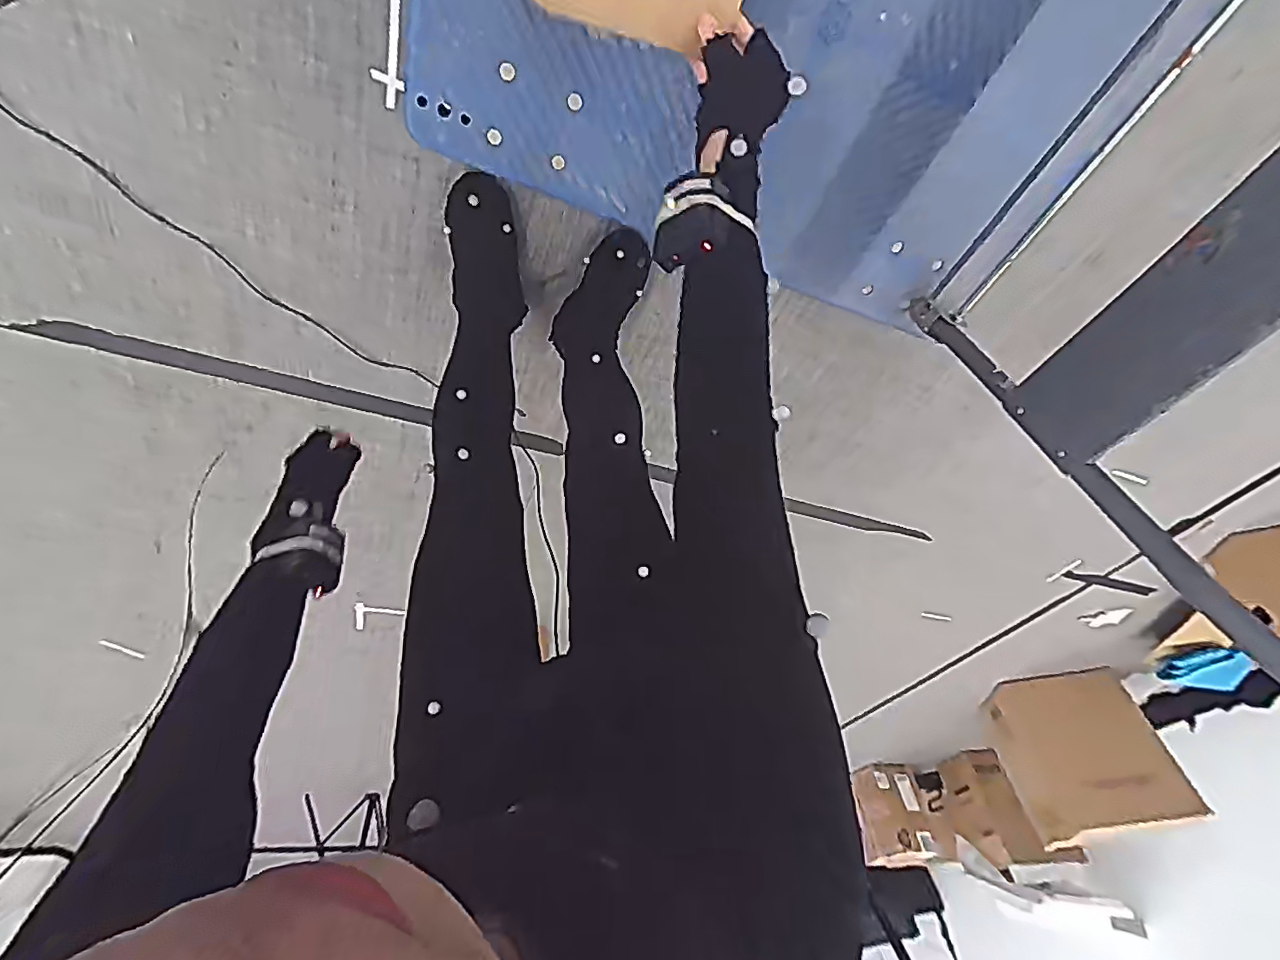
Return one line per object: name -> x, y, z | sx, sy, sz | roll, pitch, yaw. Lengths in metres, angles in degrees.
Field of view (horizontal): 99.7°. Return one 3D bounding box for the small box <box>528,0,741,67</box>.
small box -> -0.013, -0.486, 0.454 | 0.179, 0.176, 0.168 | -10, 142, -27
